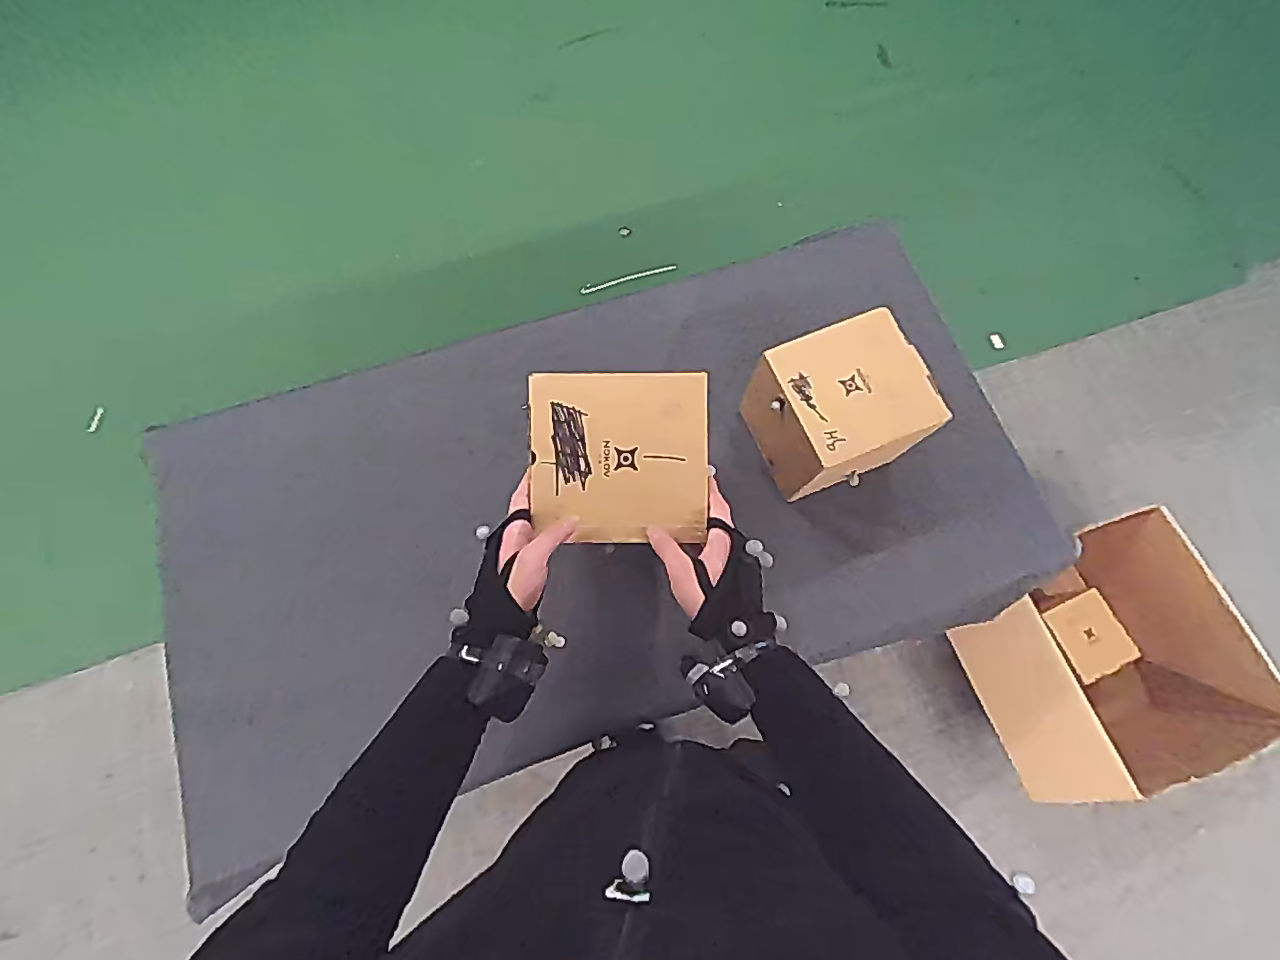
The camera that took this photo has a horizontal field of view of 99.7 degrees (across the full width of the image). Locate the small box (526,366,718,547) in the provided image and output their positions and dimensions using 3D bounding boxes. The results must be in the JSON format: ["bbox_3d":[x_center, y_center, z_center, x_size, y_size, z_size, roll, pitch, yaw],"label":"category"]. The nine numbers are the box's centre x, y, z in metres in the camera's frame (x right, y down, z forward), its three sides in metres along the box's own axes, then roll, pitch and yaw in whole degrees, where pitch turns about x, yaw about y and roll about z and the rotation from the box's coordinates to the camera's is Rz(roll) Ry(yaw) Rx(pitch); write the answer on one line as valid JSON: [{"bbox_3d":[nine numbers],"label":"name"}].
[{"bbox_3d":[-0.013,-0.022,0.596,0.179,0.176,0.168,4,90,4],"label":"small box"}]

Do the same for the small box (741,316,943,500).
[{"bbox_3d":[0.262,-0.090,0.748,0.179,0.176,0.168,-23,77,-6],"label":"small box"}]
